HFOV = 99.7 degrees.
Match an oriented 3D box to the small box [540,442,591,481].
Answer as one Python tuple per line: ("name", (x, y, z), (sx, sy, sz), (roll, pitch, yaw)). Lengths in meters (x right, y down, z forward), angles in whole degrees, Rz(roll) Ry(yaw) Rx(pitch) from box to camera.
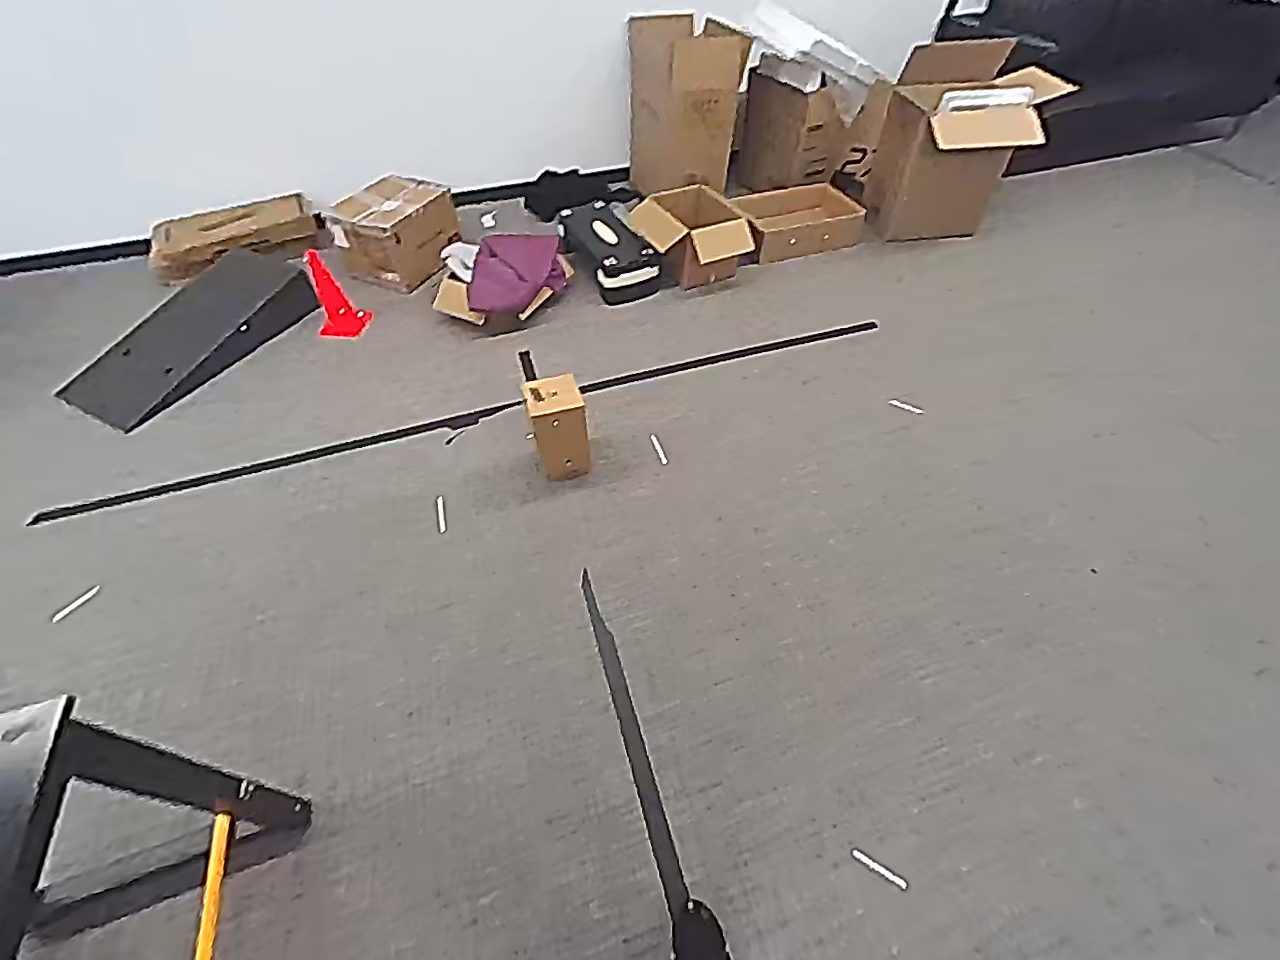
("small box", (-0.275, -0.115, 1.926), (0.168, 0.176, 0.179), (-13, 52, -10))

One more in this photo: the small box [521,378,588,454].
("small box", (-0.281, -0.207, 1.787), (0.179, 0.176, 0.168), (-15, 52, -12))
